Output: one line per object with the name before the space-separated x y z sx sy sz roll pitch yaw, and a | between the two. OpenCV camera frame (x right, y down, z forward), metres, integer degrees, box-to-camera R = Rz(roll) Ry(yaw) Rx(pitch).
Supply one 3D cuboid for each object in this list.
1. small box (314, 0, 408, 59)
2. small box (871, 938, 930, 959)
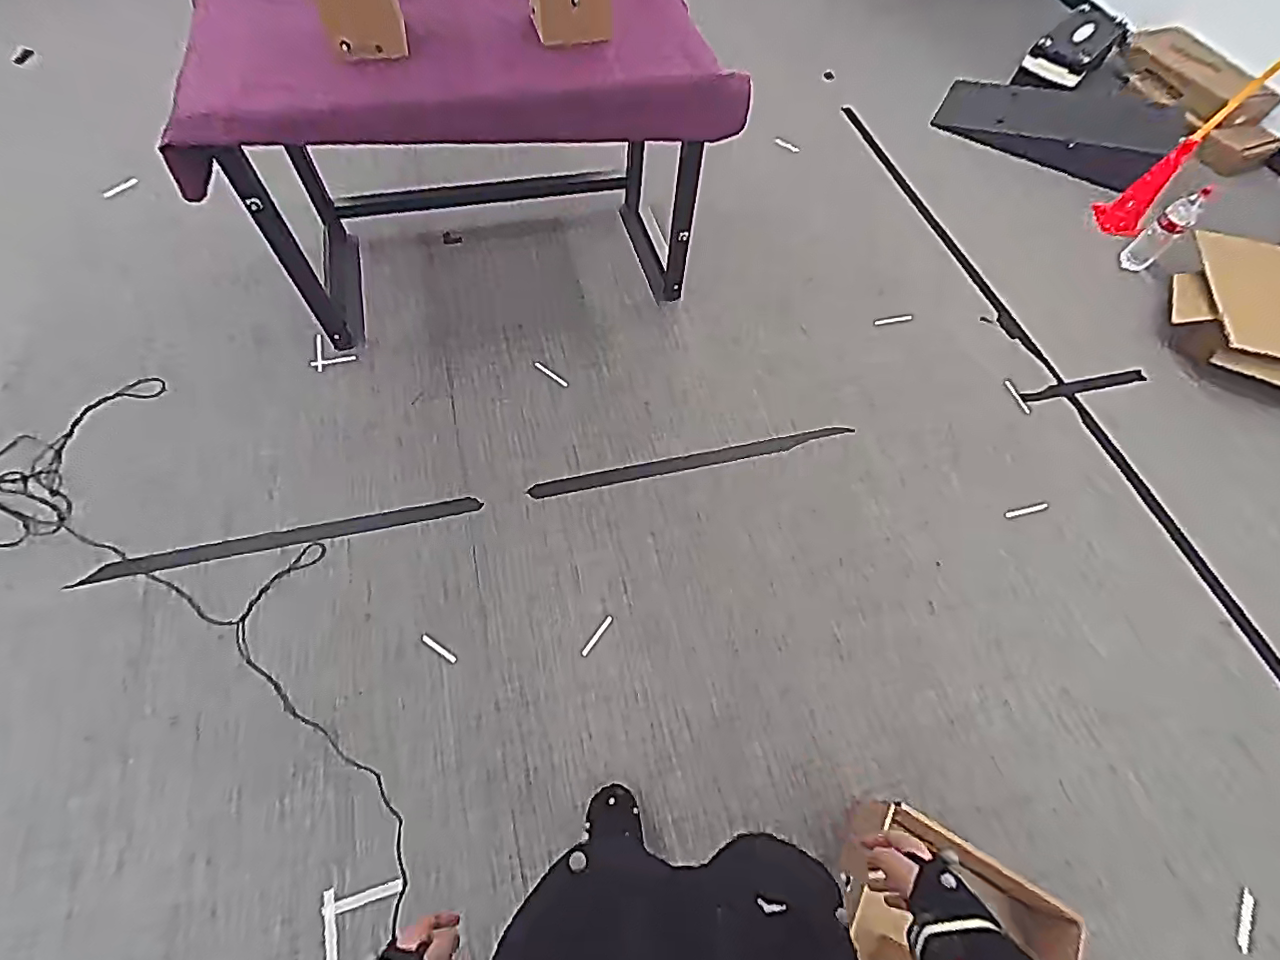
small box | -0.640 -1.092 1.231 0.168 0.176 0.179 -12 63 -10
small box | 0.531 0.999 0.995 0.179 0.176 0.168 33 64 12
